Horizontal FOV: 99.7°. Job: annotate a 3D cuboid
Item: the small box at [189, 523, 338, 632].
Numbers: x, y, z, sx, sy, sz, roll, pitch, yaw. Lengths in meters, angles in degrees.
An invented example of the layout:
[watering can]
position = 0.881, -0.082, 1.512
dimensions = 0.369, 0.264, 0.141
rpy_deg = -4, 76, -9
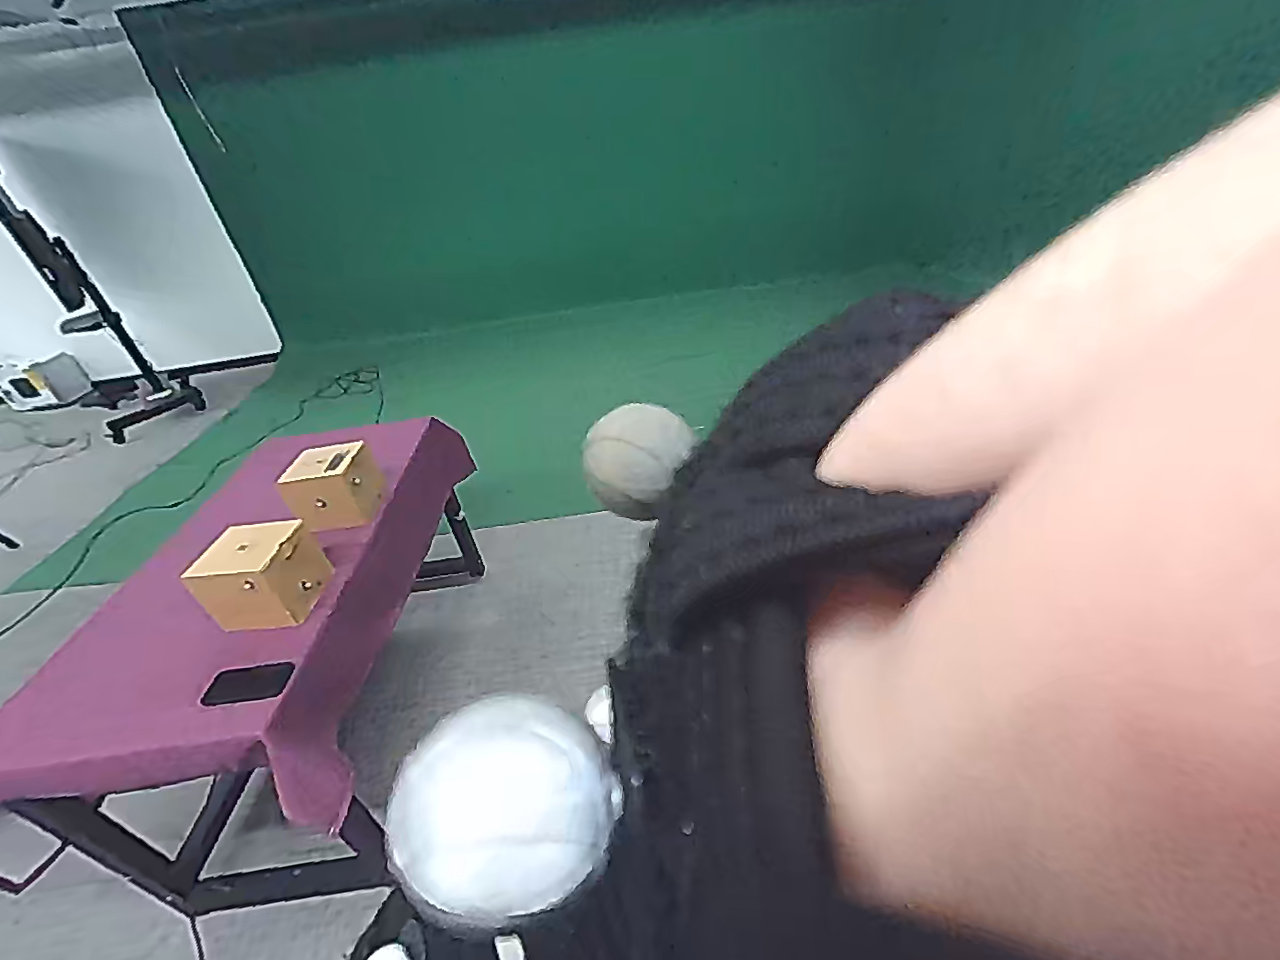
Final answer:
[small box]
position = -0.815, 0.218, 1.192
dimensions = 0.179, 0.176, 0.168
rpy_deg = -6, 34, 4
